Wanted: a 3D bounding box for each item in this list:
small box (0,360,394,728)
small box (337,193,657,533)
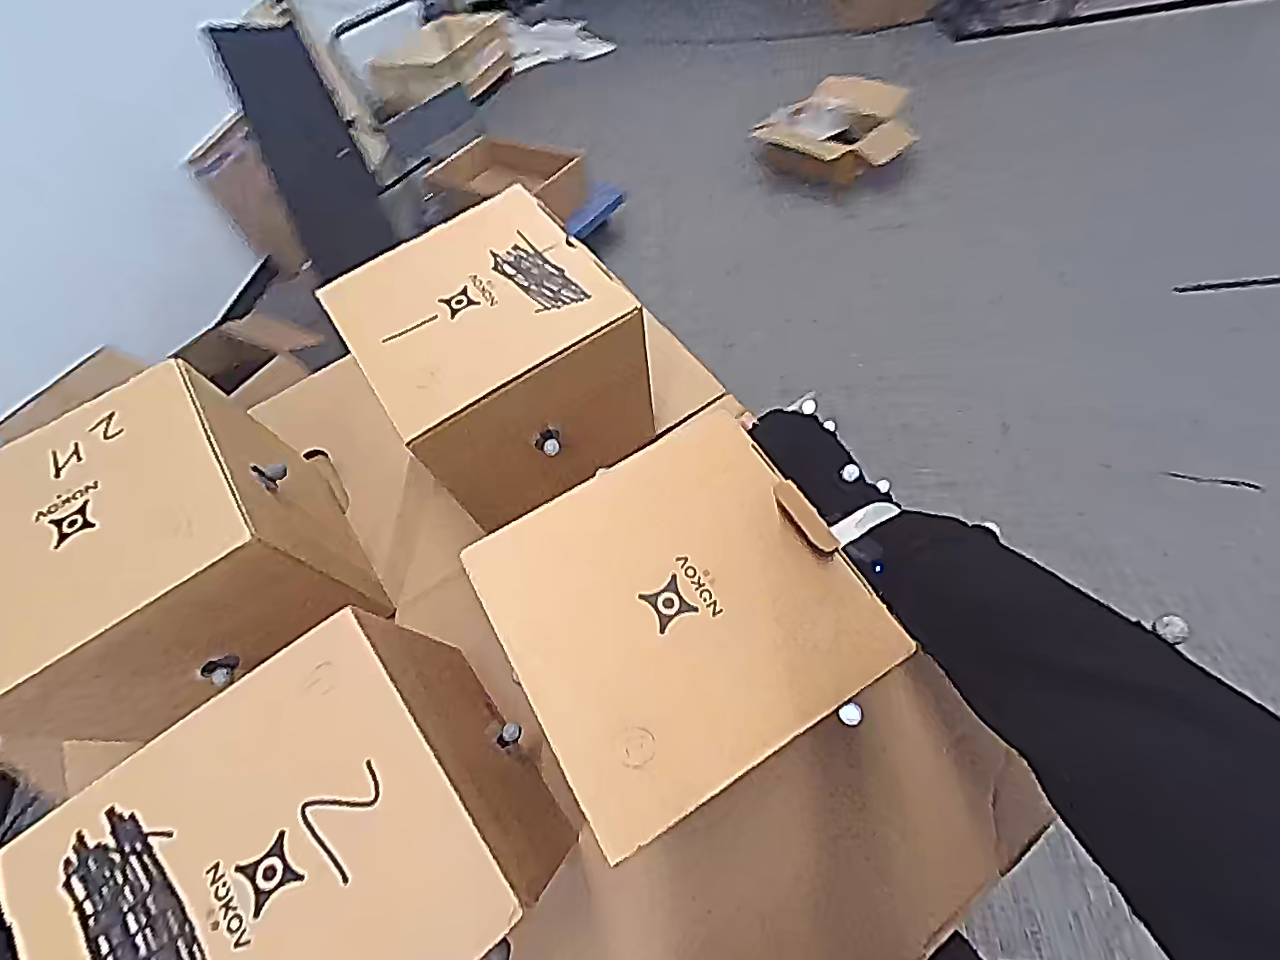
[{"bbox_3d":[-0.315,0.055,0.394,0.168,0.176,0.179,-34,64,-12],"label":"small box"},{"bbox_3d":[-0.098,-0.086,0.445,0.179,0.176,0.168,-32,65,-10],"label":"small box"}]
